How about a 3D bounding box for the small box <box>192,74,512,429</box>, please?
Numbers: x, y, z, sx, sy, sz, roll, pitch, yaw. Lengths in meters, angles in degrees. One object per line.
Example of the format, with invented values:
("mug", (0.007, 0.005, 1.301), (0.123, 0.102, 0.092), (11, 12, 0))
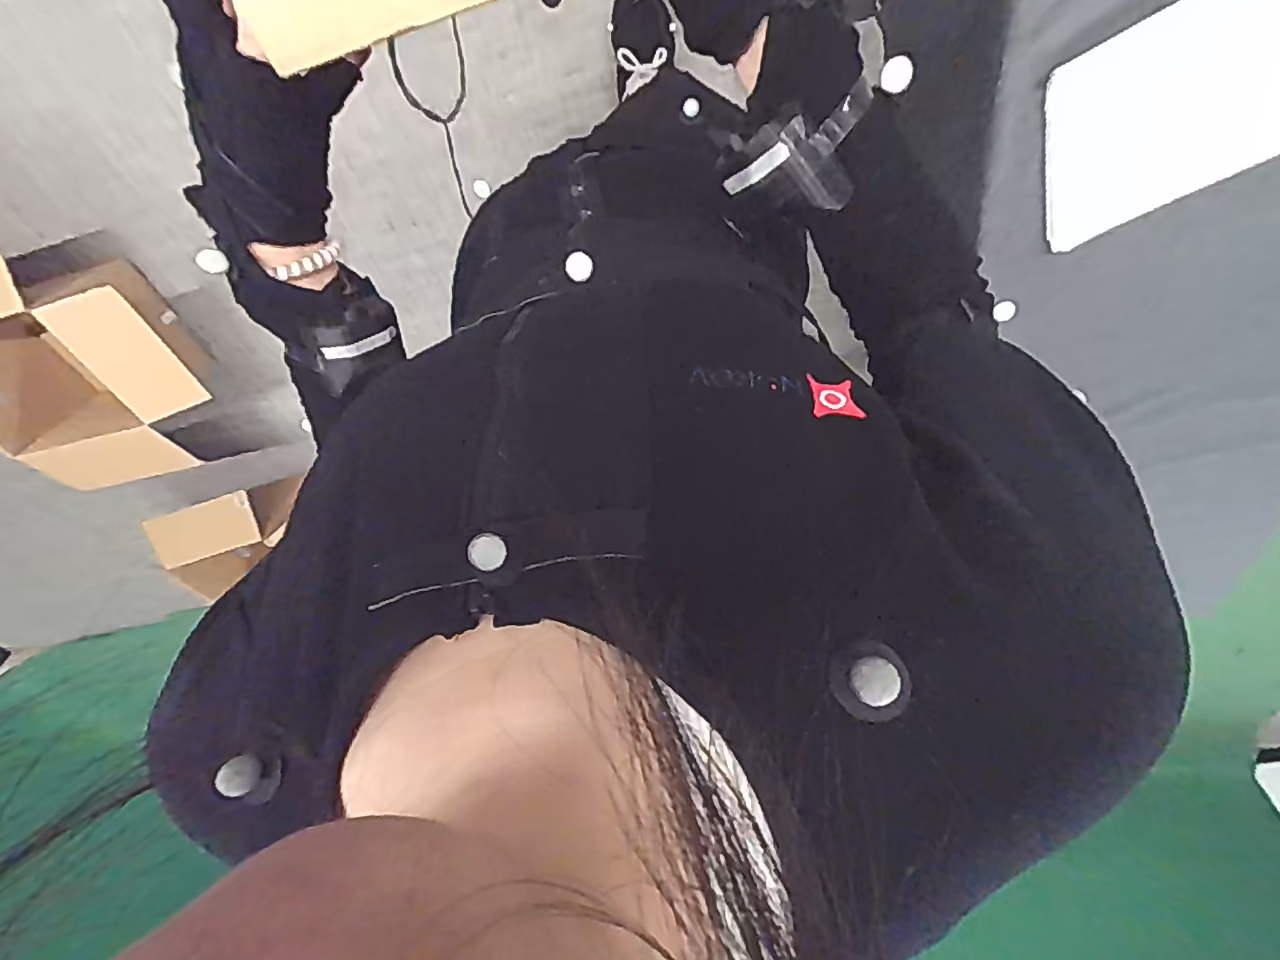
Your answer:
("small box", (-0.212, -0.136, 0.393), (0.168, 0.176, 0.179), (-2, 103, -43))
